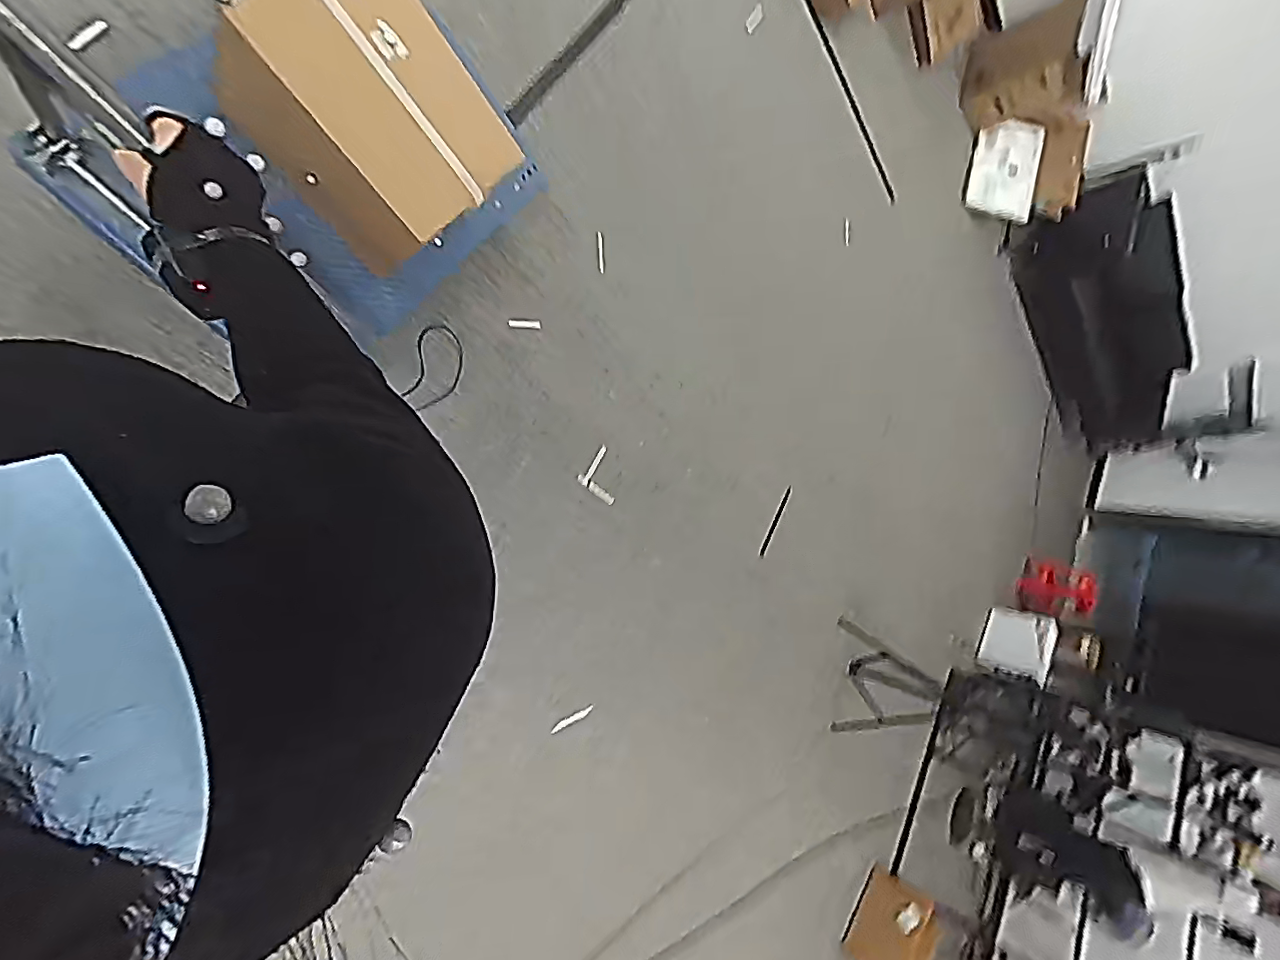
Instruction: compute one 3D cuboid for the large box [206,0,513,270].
[{"bbox_3d":[-0.545,-0.706,1.075,0.408,0.320,0.320,49,63,-30],"label":"large box"}]
